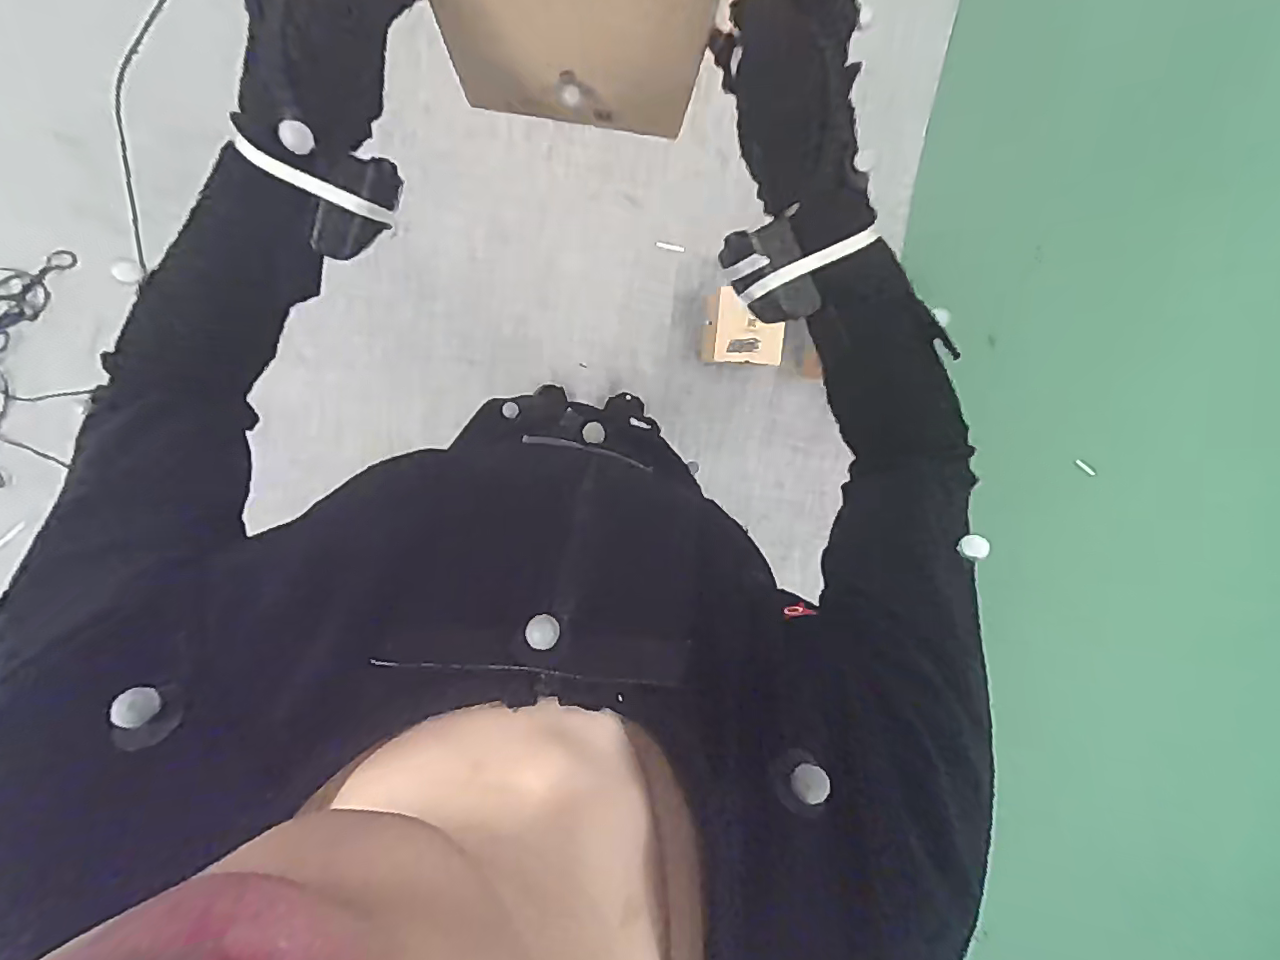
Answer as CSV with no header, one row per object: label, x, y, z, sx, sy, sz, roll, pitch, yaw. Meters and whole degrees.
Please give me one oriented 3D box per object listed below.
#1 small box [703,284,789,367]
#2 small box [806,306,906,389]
small box,0.257,-0.378,1.352,0.168,0.176,0.179,3,99,-6
small box,0.544,-0.333,1.385,0.168,0.176,0.179,8,100,-5
